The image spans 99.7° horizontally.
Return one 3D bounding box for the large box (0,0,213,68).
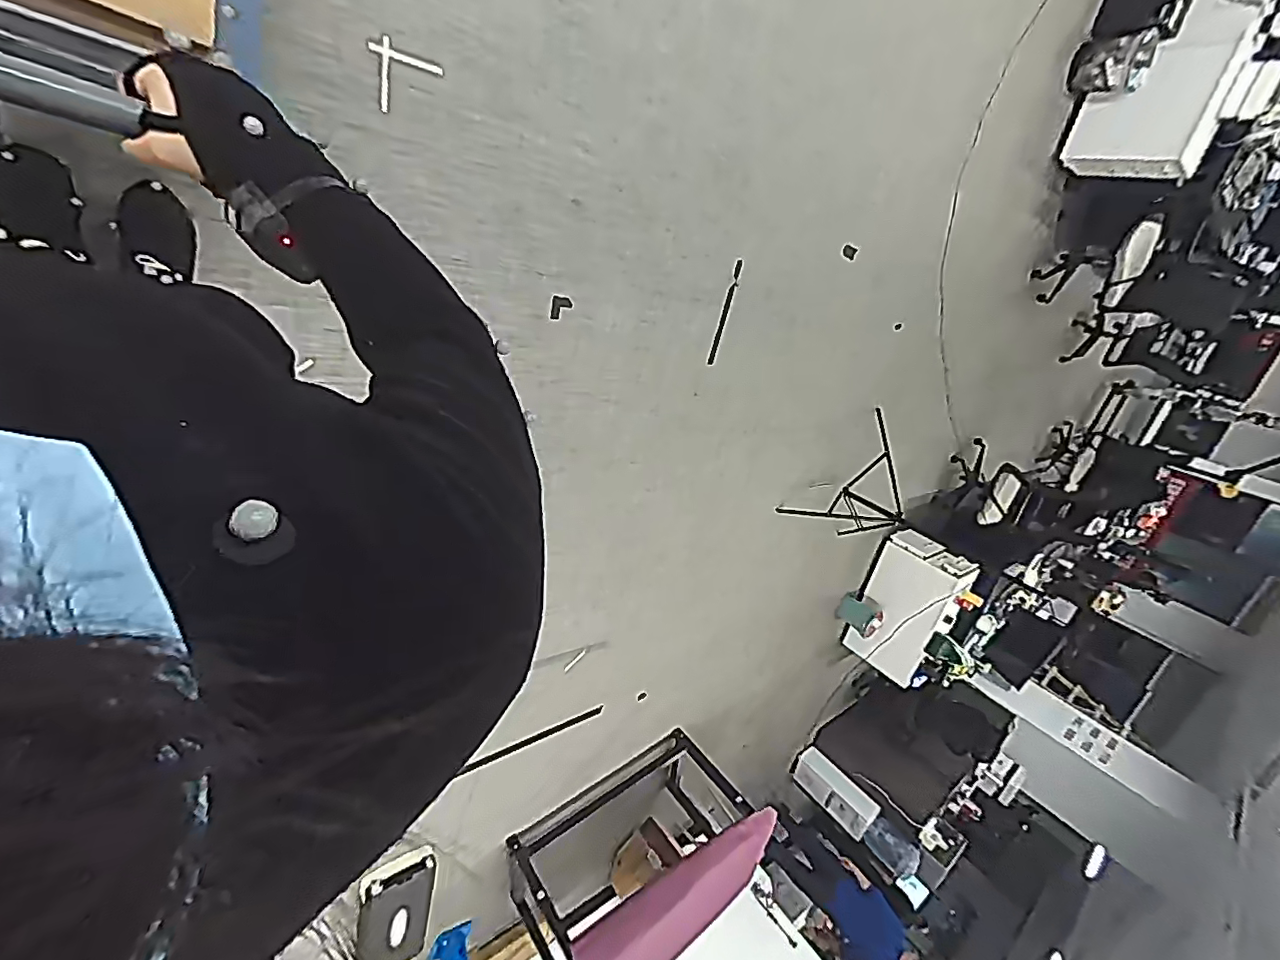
[{"bbox_3d":[-0.728,-0.720,0.579,0.408,0.320,0.320,-2,117,-43],"label":"large box"}]
